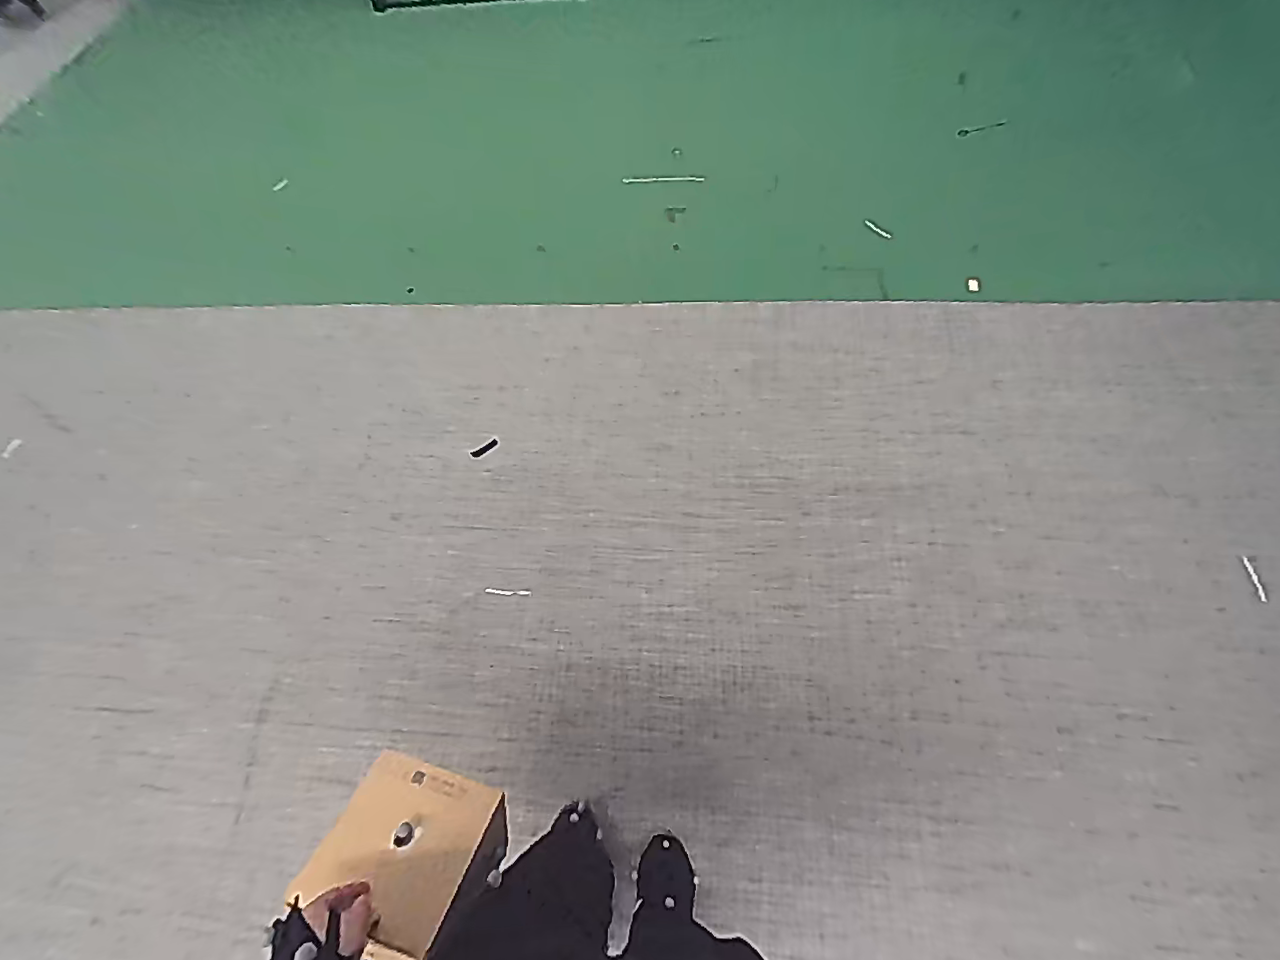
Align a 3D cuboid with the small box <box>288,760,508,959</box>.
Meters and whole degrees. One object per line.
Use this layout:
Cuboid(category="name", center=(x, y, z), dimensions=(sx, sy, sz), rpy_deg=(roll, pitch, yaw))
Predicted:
Cuboid(category="small box", center=(-0.271, 0.473, 0.653), dimensions=(0.168, 0.179, 0.176), rpy_deg=(14, 38, 8))
